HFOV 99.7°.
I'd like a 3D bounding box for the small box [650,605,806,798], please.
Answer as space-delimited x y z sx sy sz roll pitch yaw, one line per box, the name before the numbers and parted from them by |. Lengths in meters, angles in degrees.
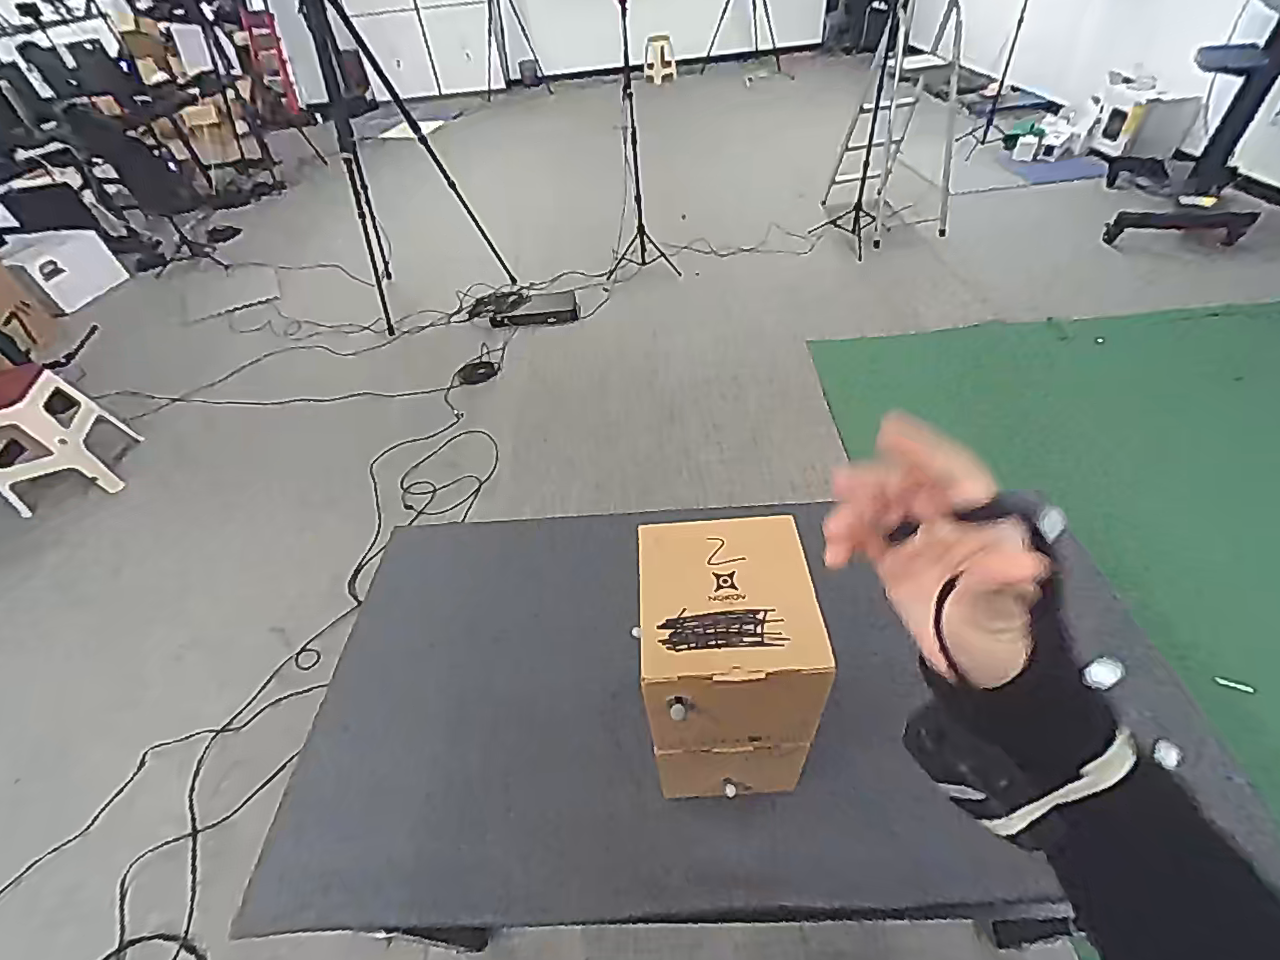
small box | 0.100 0.281 0.689 0.168 0.176 0.179 -5 45 2
